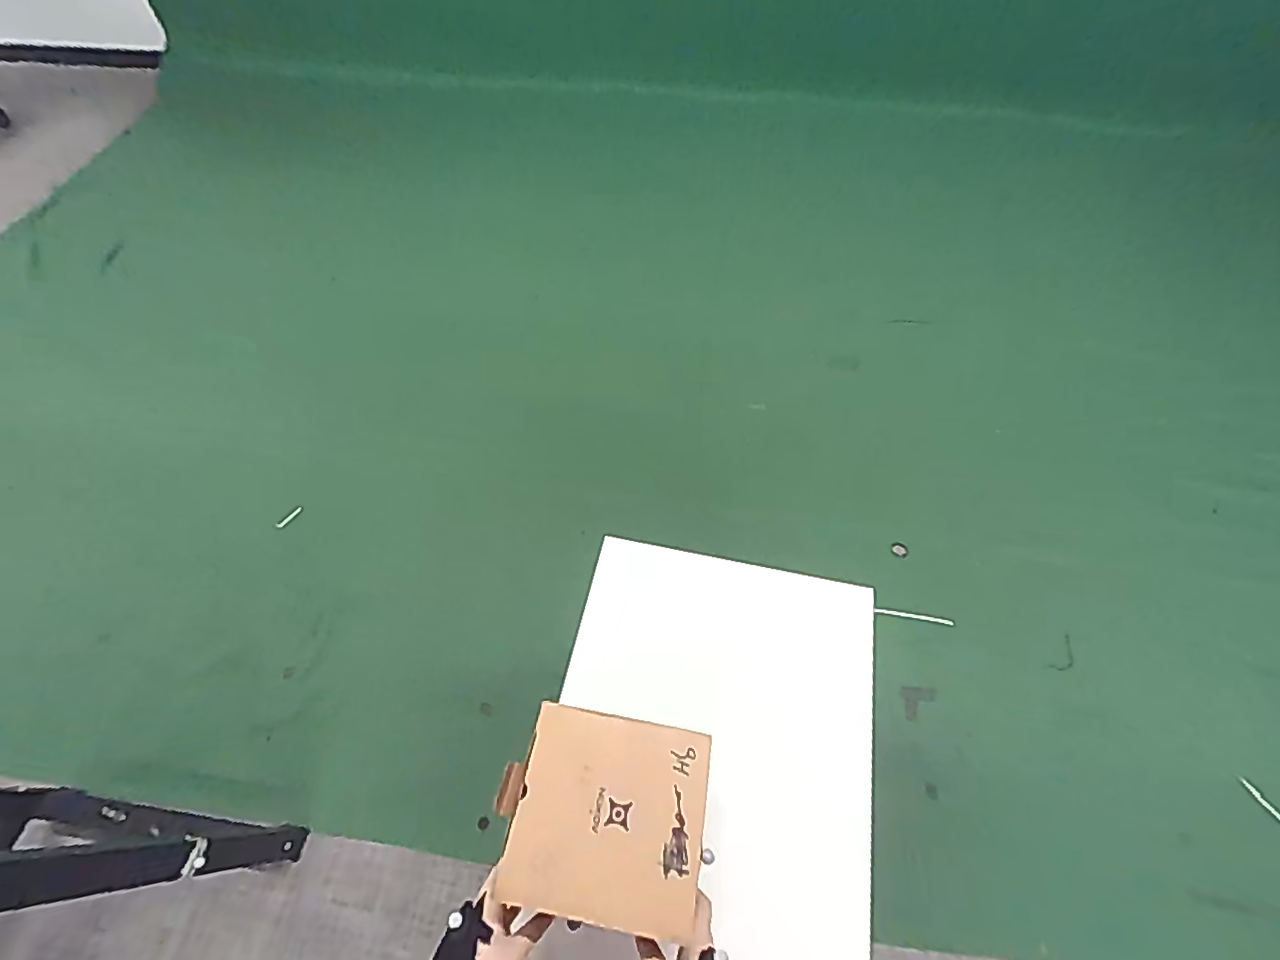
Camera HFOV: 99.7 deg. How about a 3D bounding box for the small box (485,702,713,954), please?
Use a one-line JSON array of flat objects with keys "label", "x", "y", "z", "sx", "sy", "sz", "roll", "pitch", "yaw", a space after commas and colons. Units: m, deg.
[{"label": "small box", "x": -0.030, "y": 0.346, "z": 0.551, "sx": 0.179, "sy": 0.176, "sz": 0.168, "roll": 10, "pitch": 56, "yaw": 6}]
